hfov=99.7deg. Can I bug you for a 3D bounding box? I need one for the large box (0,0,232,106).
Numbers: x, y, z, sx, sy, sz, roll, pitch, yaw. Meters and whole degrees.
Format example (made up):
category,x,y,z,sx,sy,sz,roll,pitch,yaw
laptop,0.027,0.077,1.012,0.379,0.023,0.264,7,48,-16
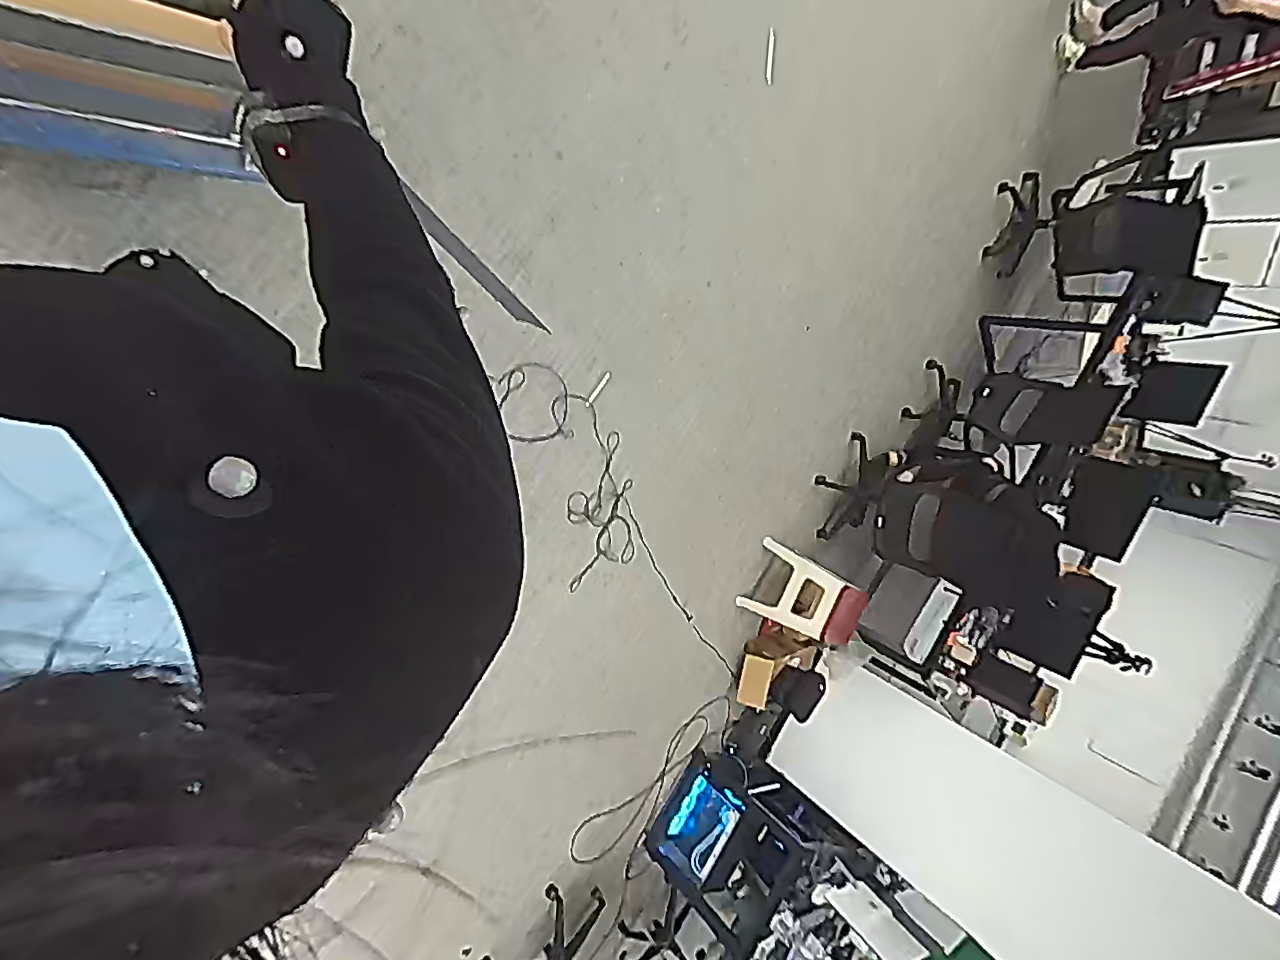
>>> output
category,x,y,z,sx,sy,sz,roll,pitch,yaw
large box,-0.787,-0.711,0.656,0.408,0.320,0.320,-12,115,-40
